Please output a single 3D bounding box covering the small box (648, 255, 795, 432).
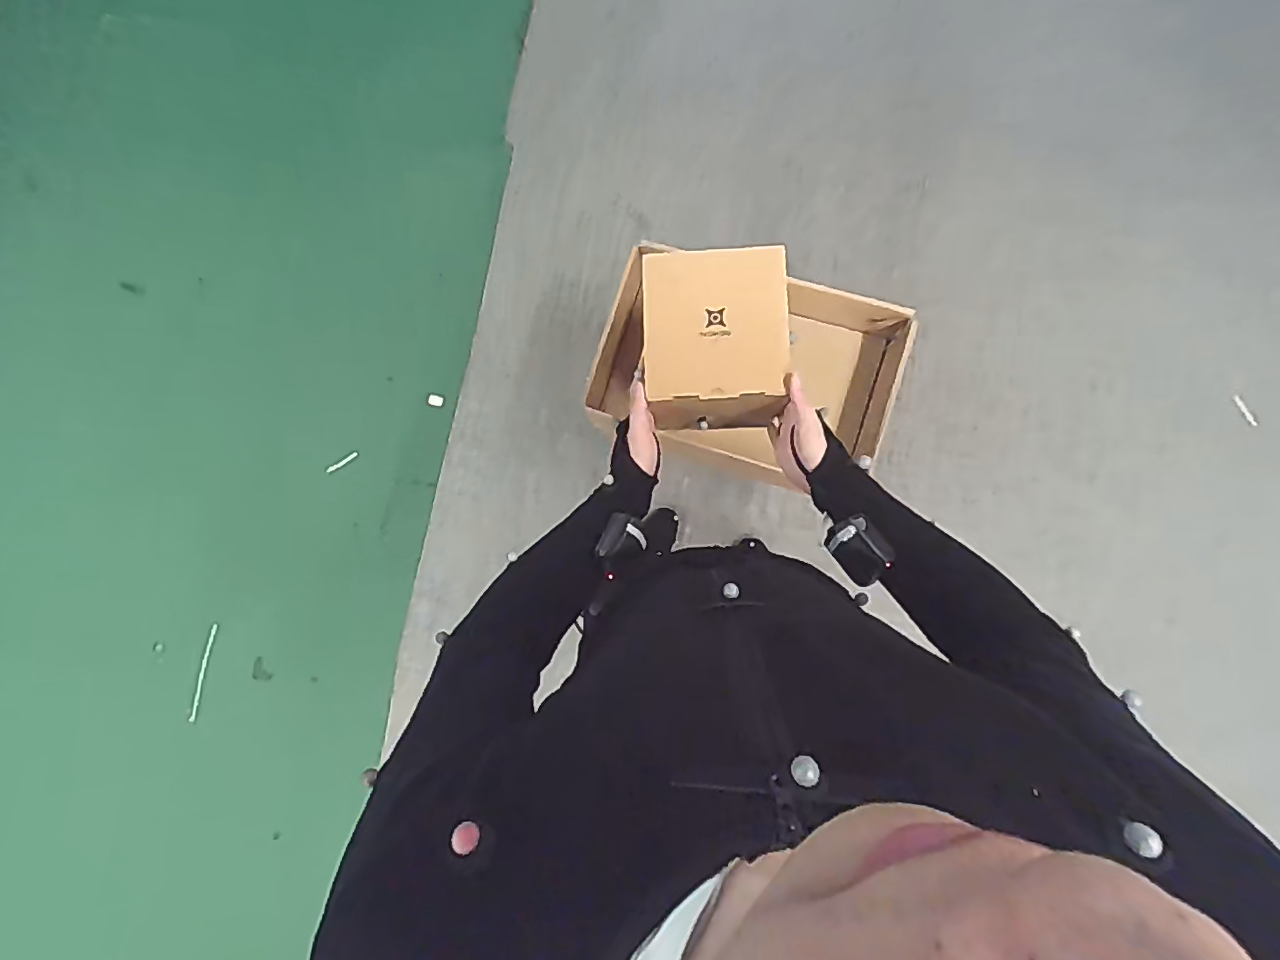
[{"bbox_3d":[0.094,-0.165,0.696,0.168,0.176,0.179,-2,86,2],"label":"small box"}]
